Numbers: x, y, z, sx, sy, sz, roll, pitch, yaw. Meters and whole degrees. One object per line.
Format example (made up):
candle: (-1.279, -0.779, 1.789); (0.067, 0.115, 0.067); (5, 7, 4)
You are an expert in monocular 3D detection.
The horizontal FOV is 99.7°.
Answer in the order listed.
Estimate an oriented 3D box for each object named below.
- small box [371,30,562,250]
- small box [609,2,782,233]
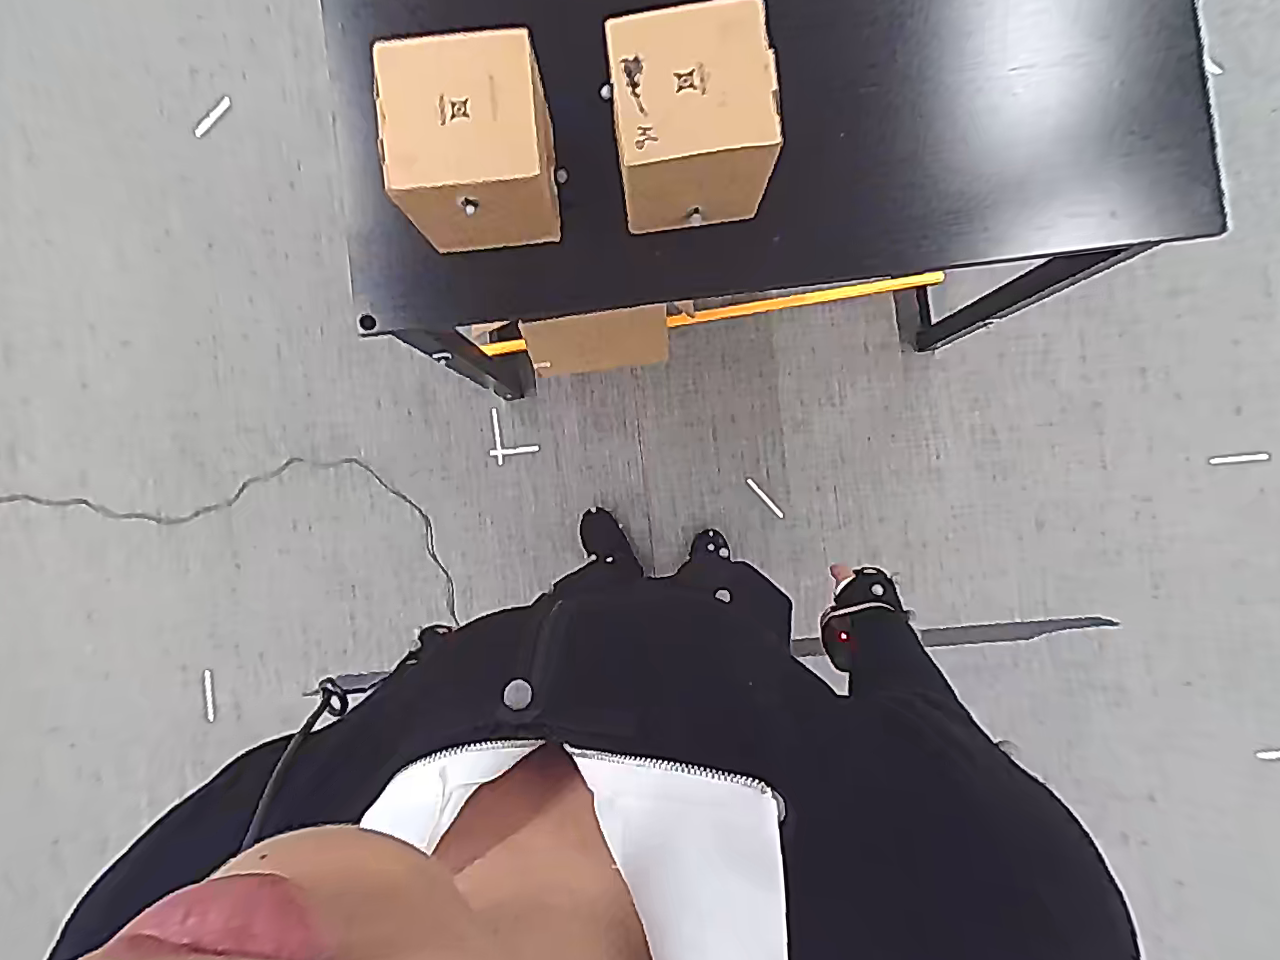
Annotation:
small box: (-0.203, -0.405, 0.674); (0.179, 0.176, 0.168); (-6, 91, 0)
small box: (0.059, -0.432, 0.670); (0.179, 0.176, 0.168); (-8, 89, 0)
